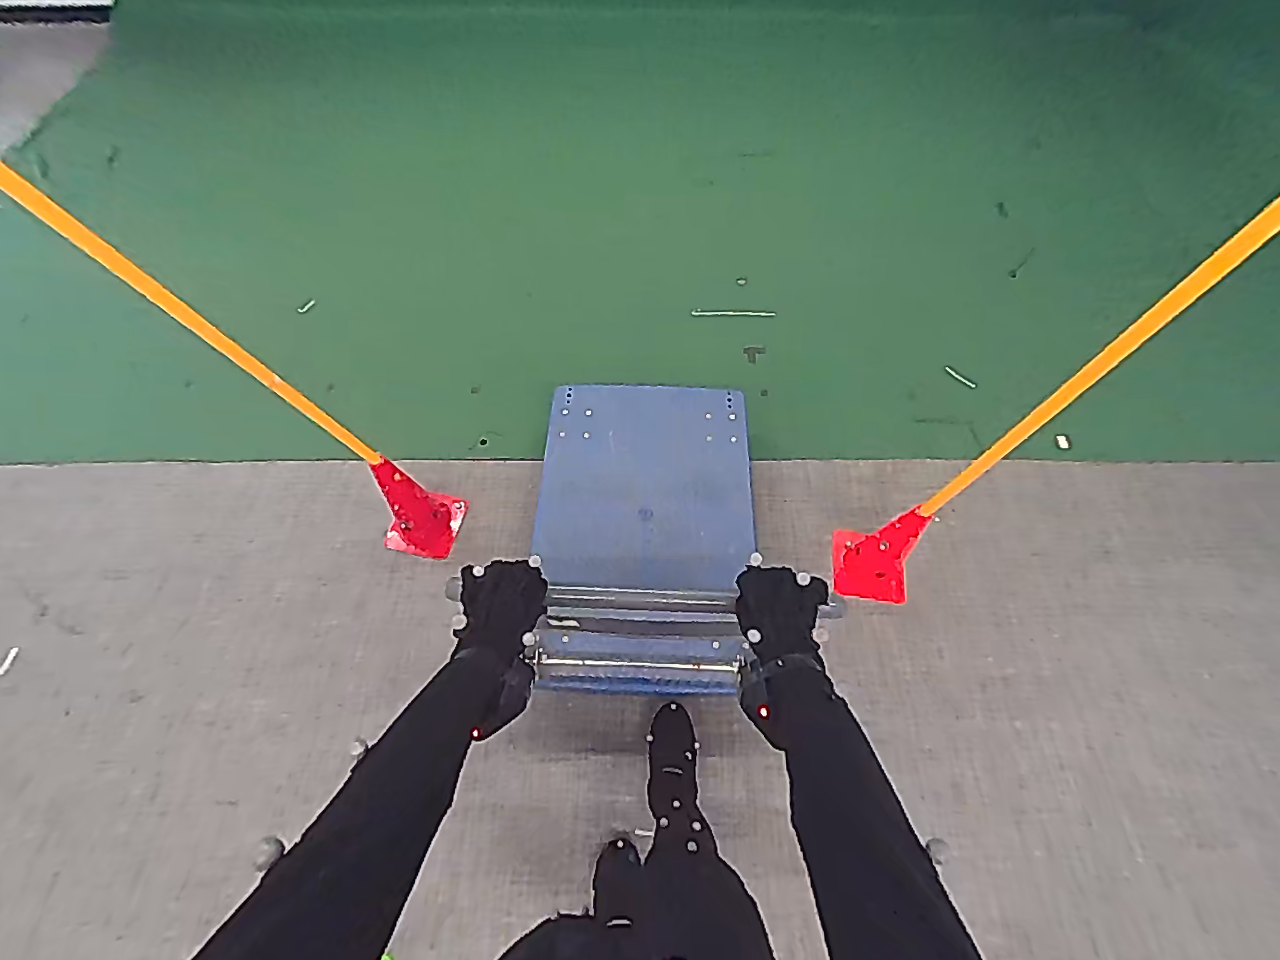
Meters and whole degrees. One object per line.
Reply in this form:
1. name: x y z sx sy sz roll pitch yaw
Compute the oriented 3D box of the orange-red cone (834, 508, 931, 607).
1. orange-red cone: 0.649 0.168 1.382 0.198 0.360 0.199 9 61 6
